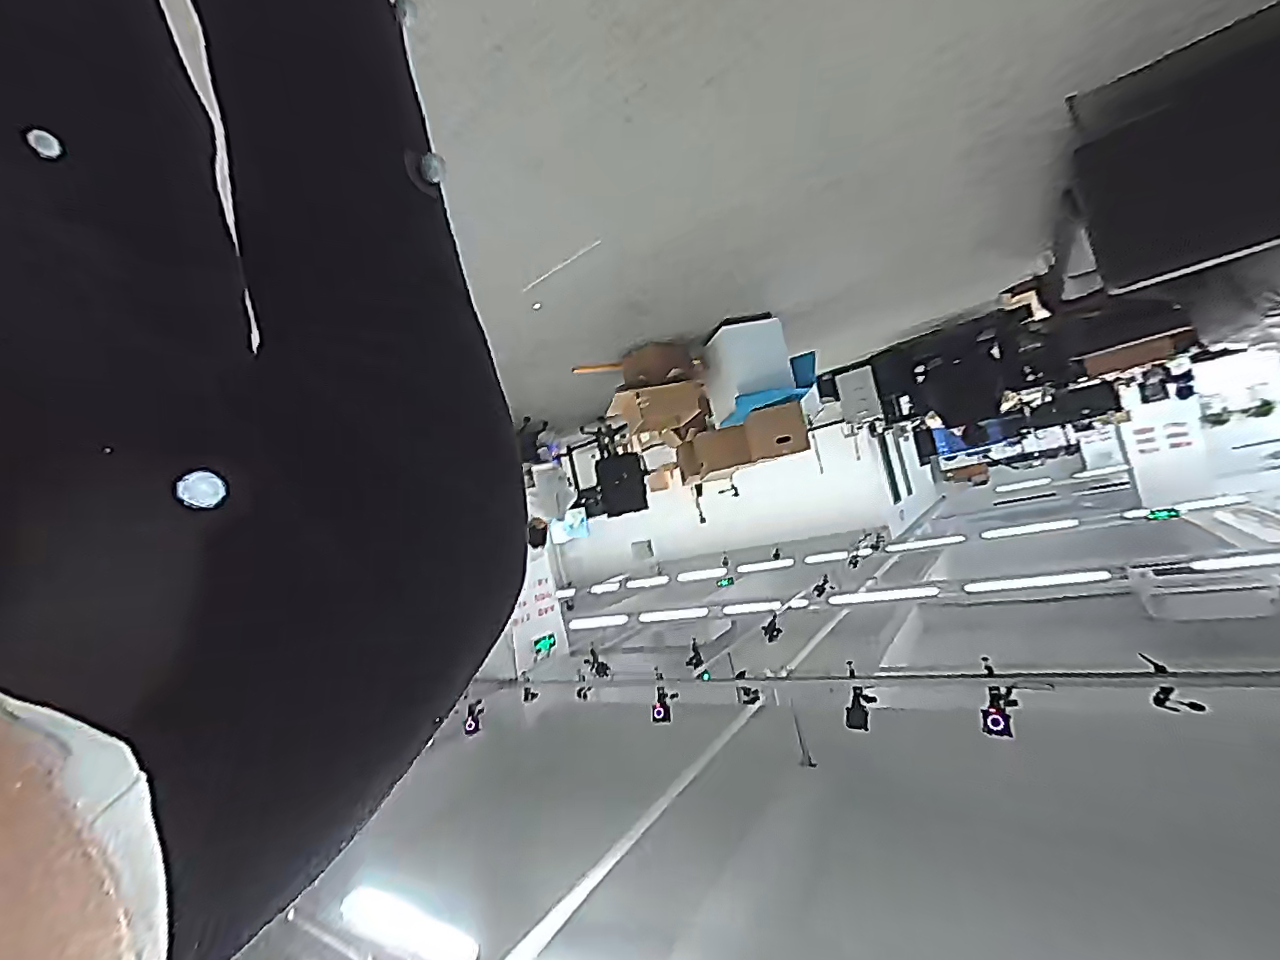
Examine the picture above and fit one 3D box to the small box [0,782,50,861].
[{"bbox_3d":[-1.863,1.000,1.569,0.168,0.176,0.179,-16,175,38],"label":"small box"}]
